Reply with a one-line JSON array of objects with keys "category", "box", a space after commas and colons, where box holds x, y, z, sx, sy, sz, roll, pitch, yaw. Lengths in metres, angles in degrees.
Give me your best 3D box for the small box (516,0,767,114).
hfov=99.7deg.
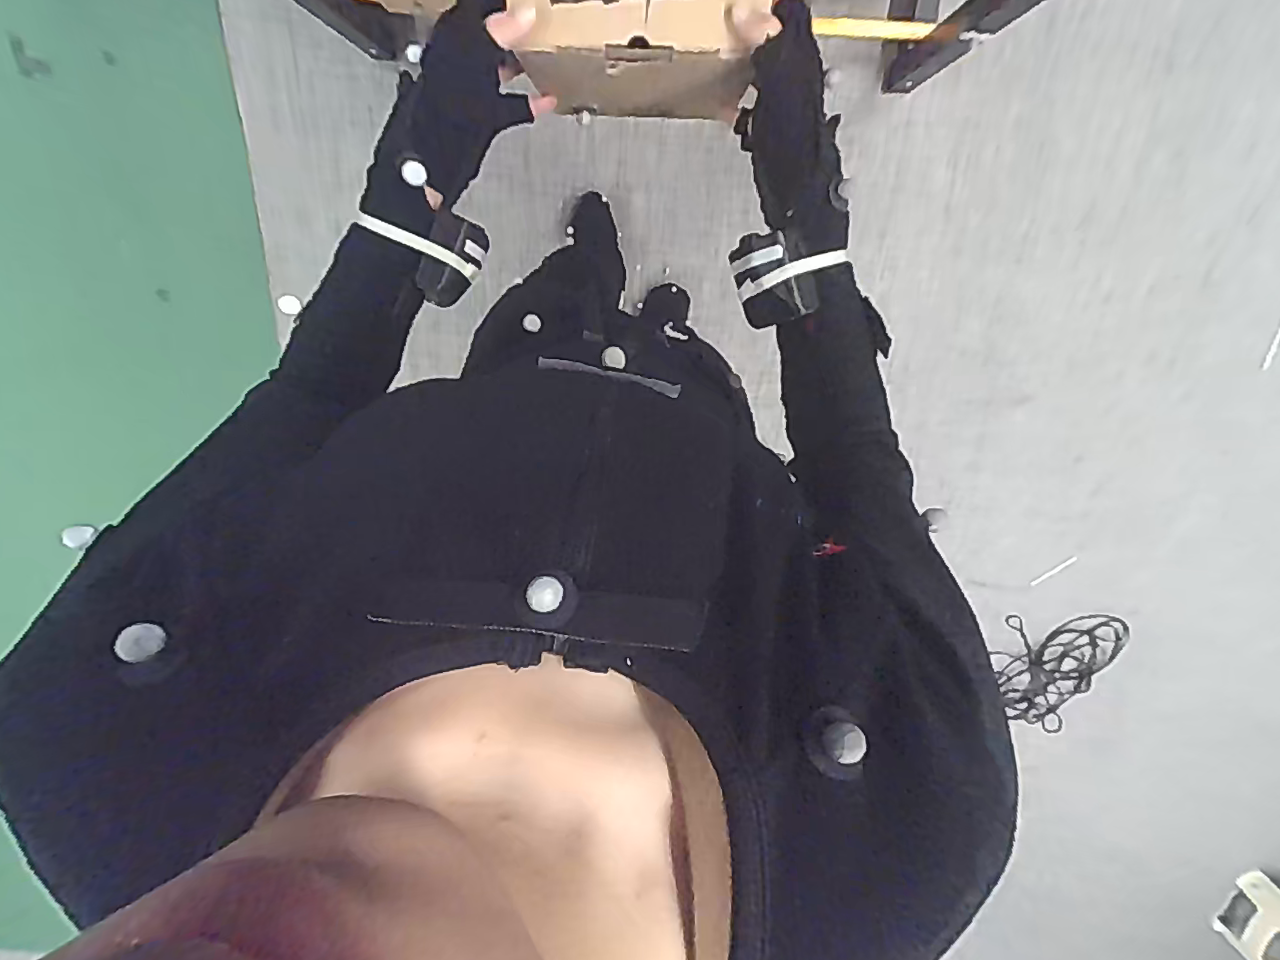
[{"category": "small box", "box": [0.006, -0.392, 0.399, 0.168, 0.176, 0.179, 2, 111, 0]}]
